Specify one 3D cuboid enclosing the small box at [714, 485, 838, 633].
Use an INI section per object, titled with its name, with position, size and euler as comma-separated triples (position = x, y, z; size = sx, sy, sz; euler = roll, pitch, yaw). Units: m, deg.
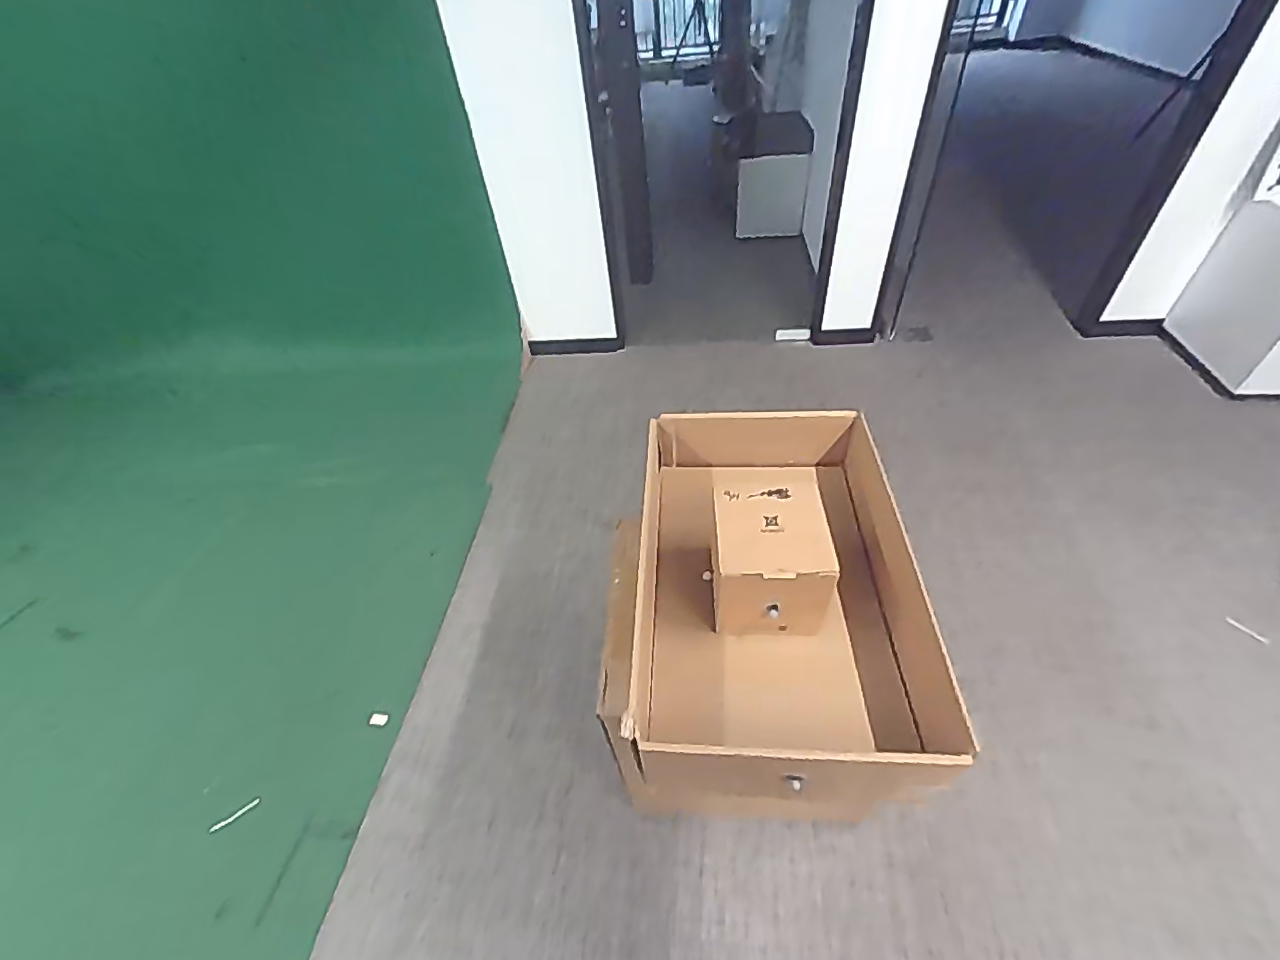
[small box]
position = 0.204, 0.128, 0.858
size = 0.168, 0.176, 0.179
euler = -1, 46, 5
